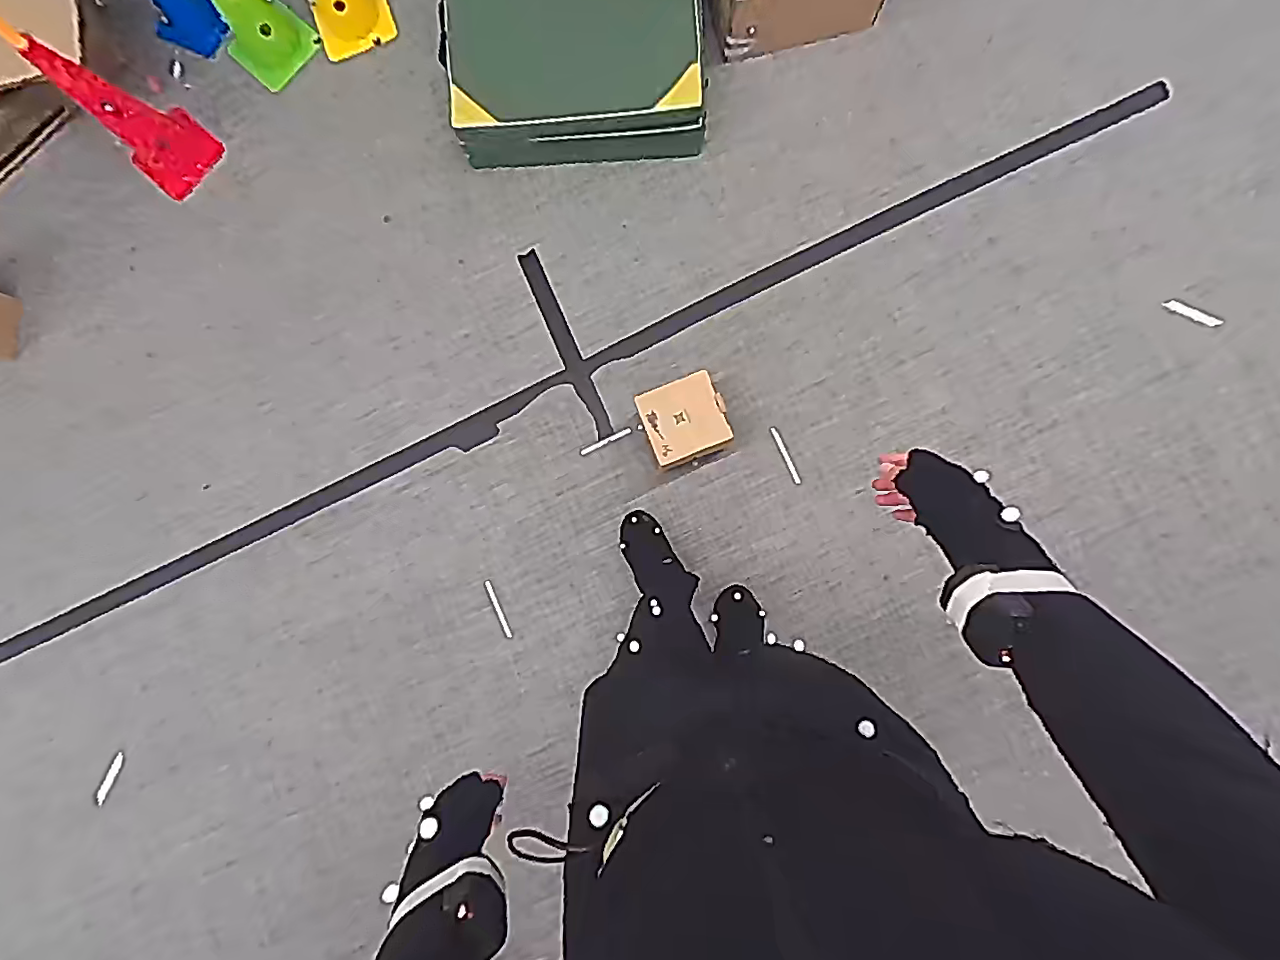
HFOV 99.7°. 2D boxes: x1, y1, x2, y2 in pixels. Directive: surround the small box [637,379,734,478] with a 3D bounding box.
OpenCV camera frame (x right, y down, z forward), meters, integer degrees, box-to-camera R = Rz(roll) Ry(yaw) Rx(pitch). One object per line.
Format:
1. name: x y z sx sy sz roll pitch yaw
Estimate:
1. small box: 0.101 -0.114 1.266 0.179 0.176 0.168 -21 84 0
